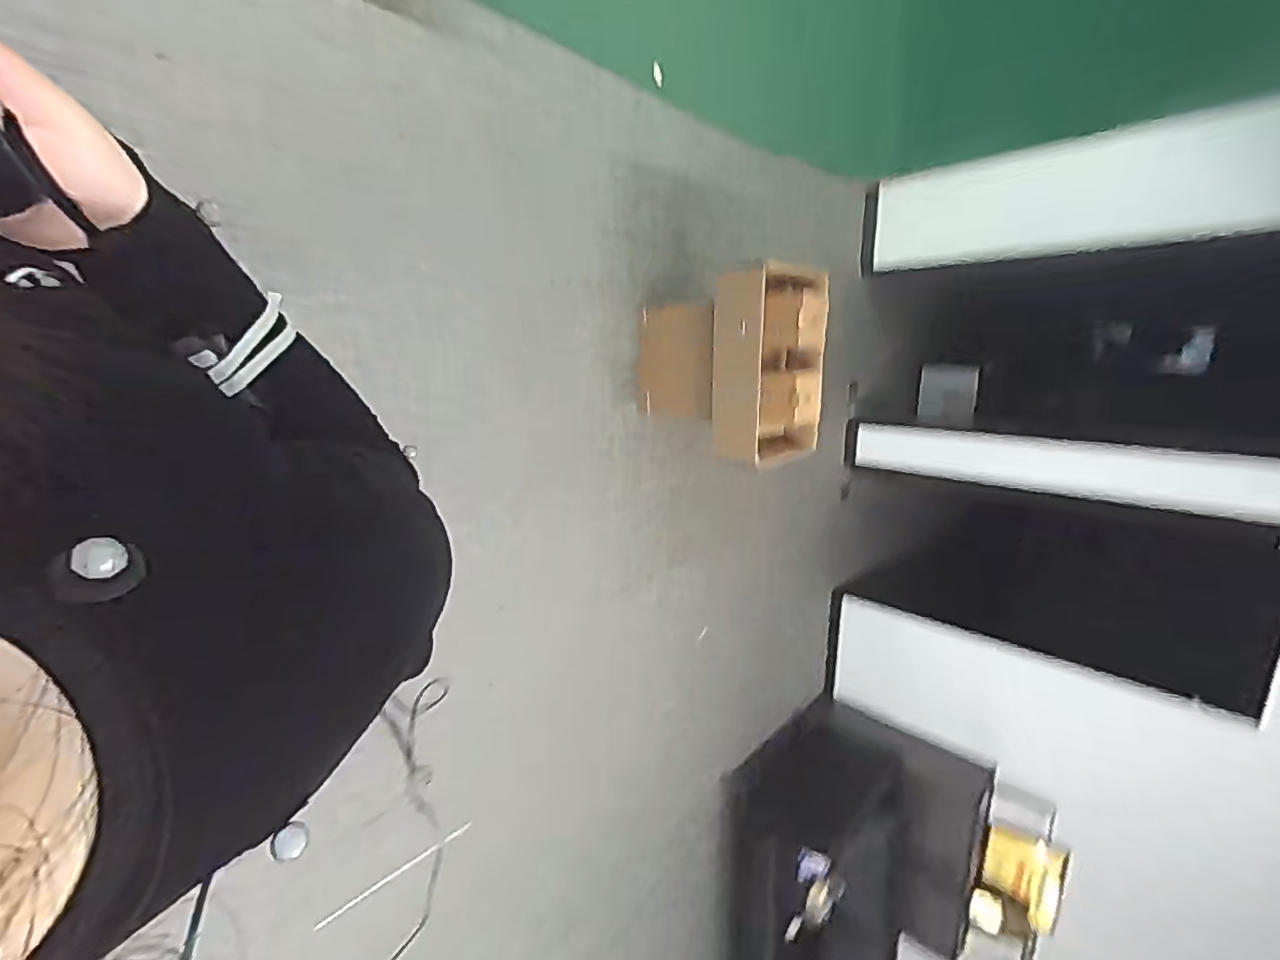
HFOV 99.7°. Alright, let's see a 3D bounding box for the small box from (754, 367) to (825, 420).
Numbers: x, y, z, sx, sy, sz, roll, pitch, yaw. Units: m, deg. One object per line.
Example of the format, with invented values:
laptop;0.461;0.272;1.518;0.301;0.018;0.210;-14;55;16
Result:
small box;0.515;-0.302;1.863;0.179;0.176;0.168;-14;109;-42
